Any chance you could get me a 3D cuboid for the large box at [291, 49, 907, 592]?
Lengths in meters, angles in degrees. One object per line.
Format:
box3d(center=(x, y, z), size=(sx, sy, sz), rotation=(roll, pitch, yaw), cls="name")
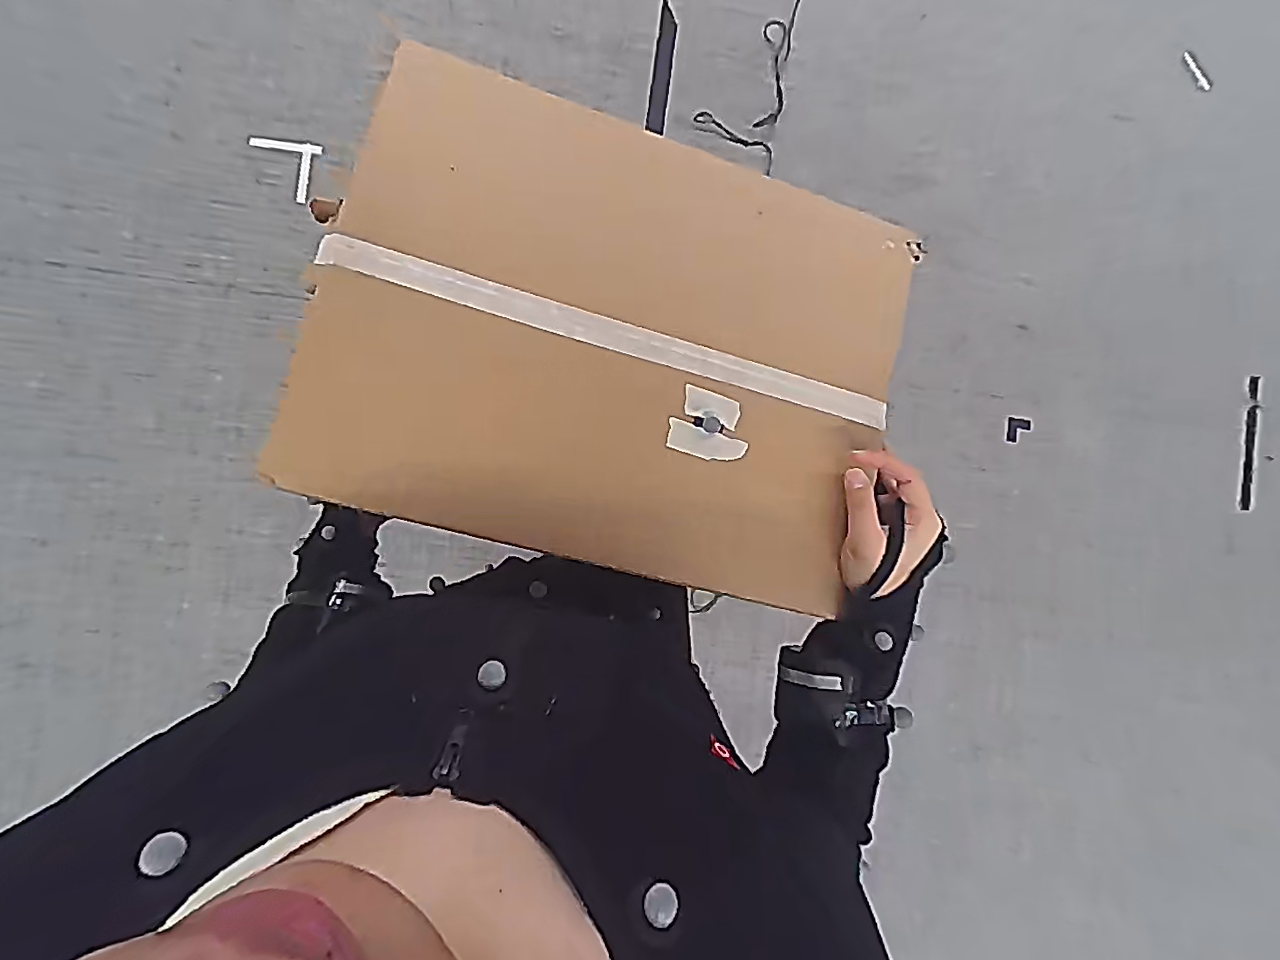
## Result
box3d(center=(-0.032, -0.096, 0.536), size=(0.408, 0.320, 0.320), rotation=(15, 84, -11), cls="large box")
